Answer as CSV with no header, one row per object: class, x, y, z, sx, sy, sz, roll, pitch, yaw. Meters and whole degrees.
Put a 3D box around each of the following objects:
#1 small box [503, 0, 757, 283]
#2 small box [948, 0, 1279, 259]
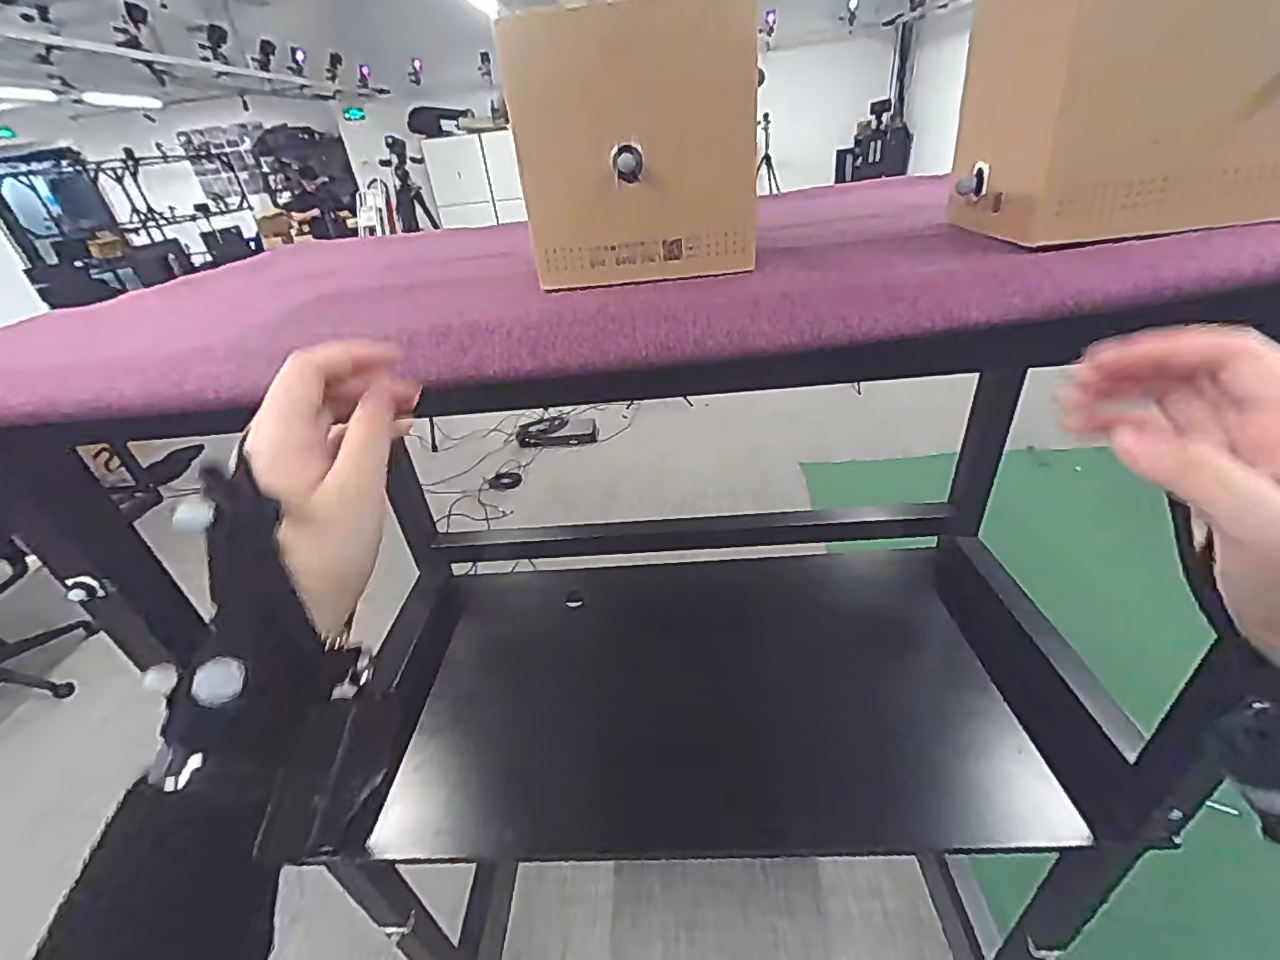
small box,0.004,-0.265,0.447,0.168,0.176,0.179,-3,32,5
small box,0.349,-0.266,0.385,0.179,0.176,0.168,-3,29,10
